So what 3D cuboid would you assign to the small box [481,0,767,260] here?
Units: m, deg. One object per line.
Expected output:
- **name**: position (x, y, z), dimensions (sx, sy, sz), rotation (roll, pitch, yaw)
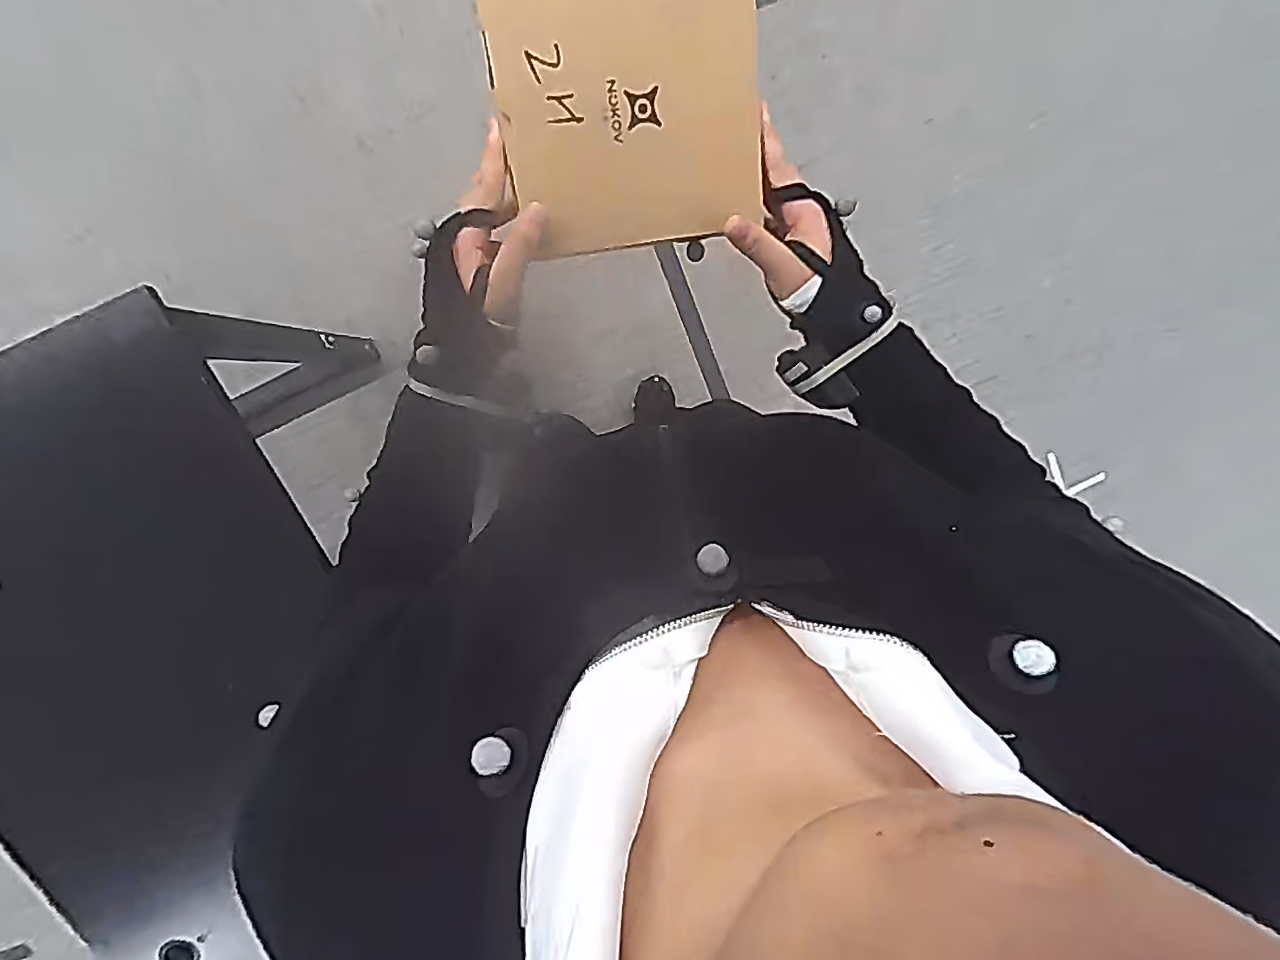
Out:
- **small box**: position (-0.010, -0.276, 0.431), dimensions (0.179, 0.176, 0.168), rotation (-8, 112, 0)
